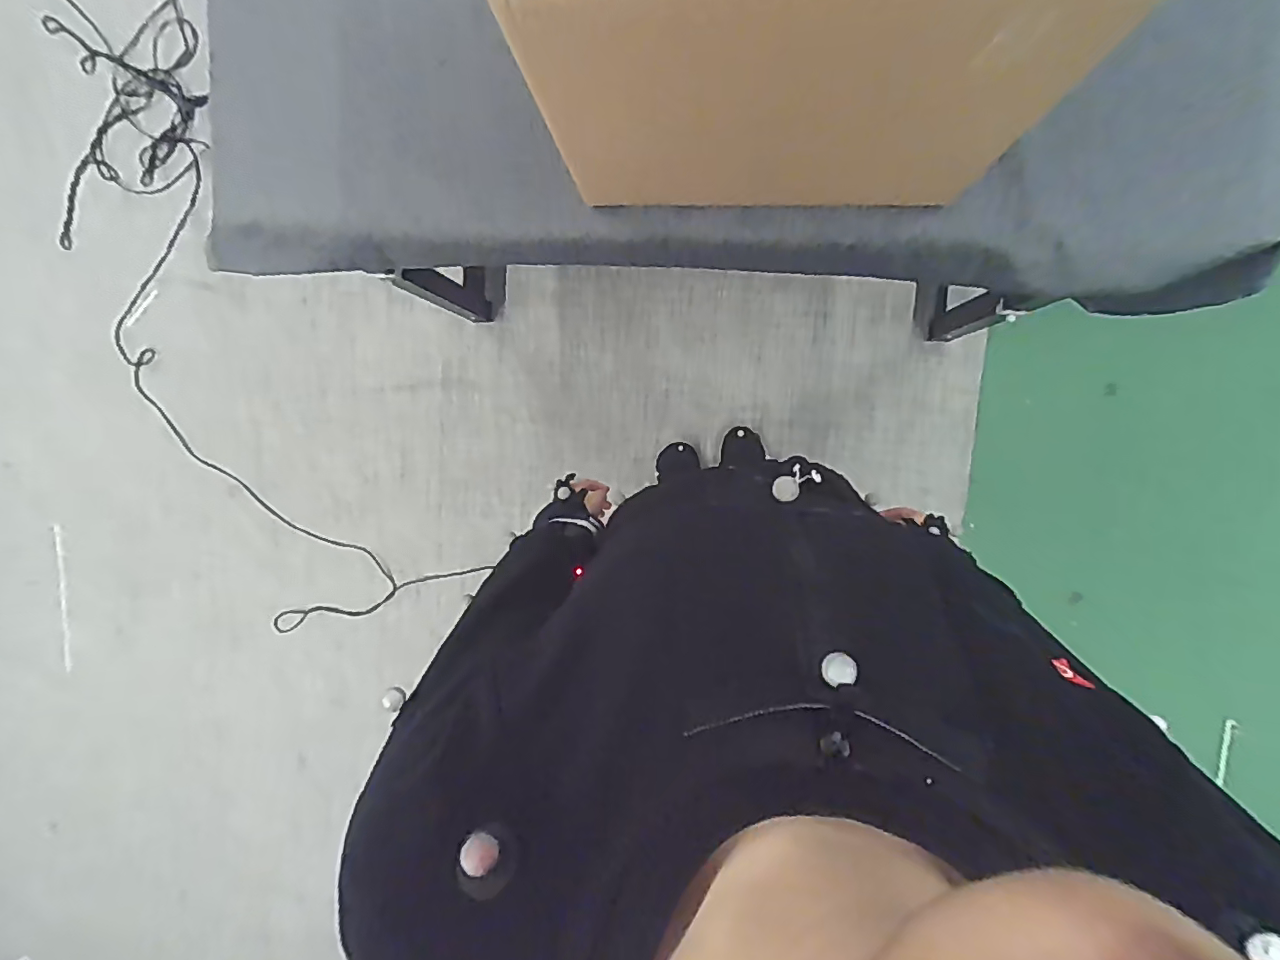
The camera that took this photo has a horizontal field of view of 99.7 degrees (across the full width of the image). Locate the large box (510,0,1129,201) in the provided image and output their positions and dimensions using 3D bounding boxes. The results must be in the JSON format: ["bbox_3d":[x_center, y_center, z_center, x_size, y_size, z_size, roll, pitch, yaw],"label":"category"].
[{"bbox_3d":[0.124,-0.458,0.450,0.408,0.320,0.320,2,95,5],"label":"large box"}]
